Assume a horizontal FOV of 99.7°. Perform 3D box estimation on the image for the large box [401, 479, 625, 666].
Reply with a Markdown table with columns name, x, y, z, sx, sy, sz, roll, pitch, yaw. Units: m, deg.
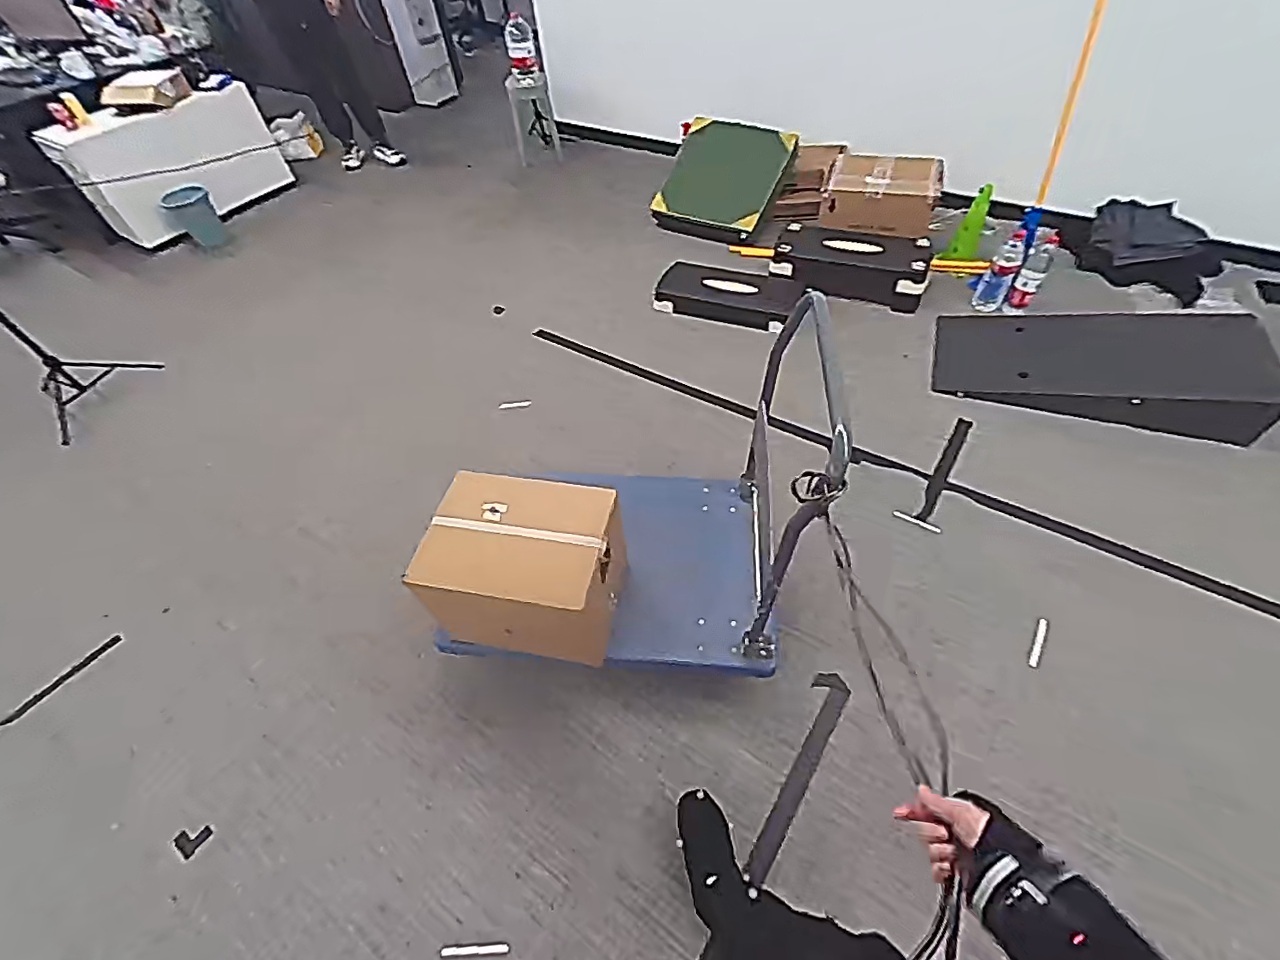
| name | x | y | z | sx | sy | sz | roll | pitch | yaw |
| --- | --- | --- | --- | --- | --- | --- | --- | --- | --- |
| large box | -0.269 | 0.225 | 1.305 | 0.408 | 0.320 | 0.320 | 6 | 51 | 11 |
